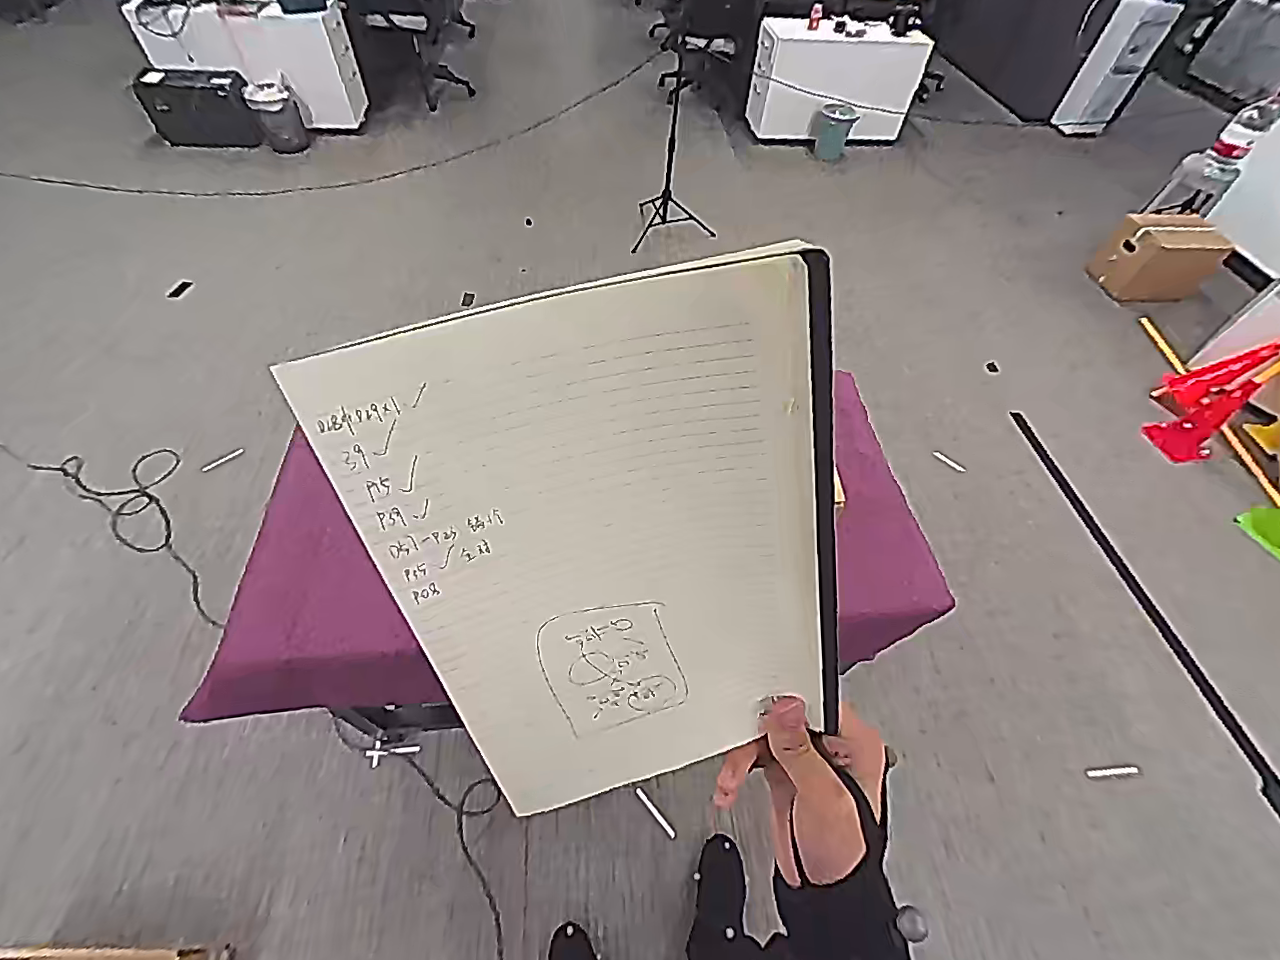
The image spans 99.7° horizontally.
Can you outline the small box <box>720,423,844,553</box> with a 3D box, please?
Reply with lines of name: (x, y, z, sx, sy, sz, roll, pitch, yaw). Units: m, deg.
small box: (0.244, 0.018, 0.976, 0.168, 0.176, 0.179, 3, 53, -3)
